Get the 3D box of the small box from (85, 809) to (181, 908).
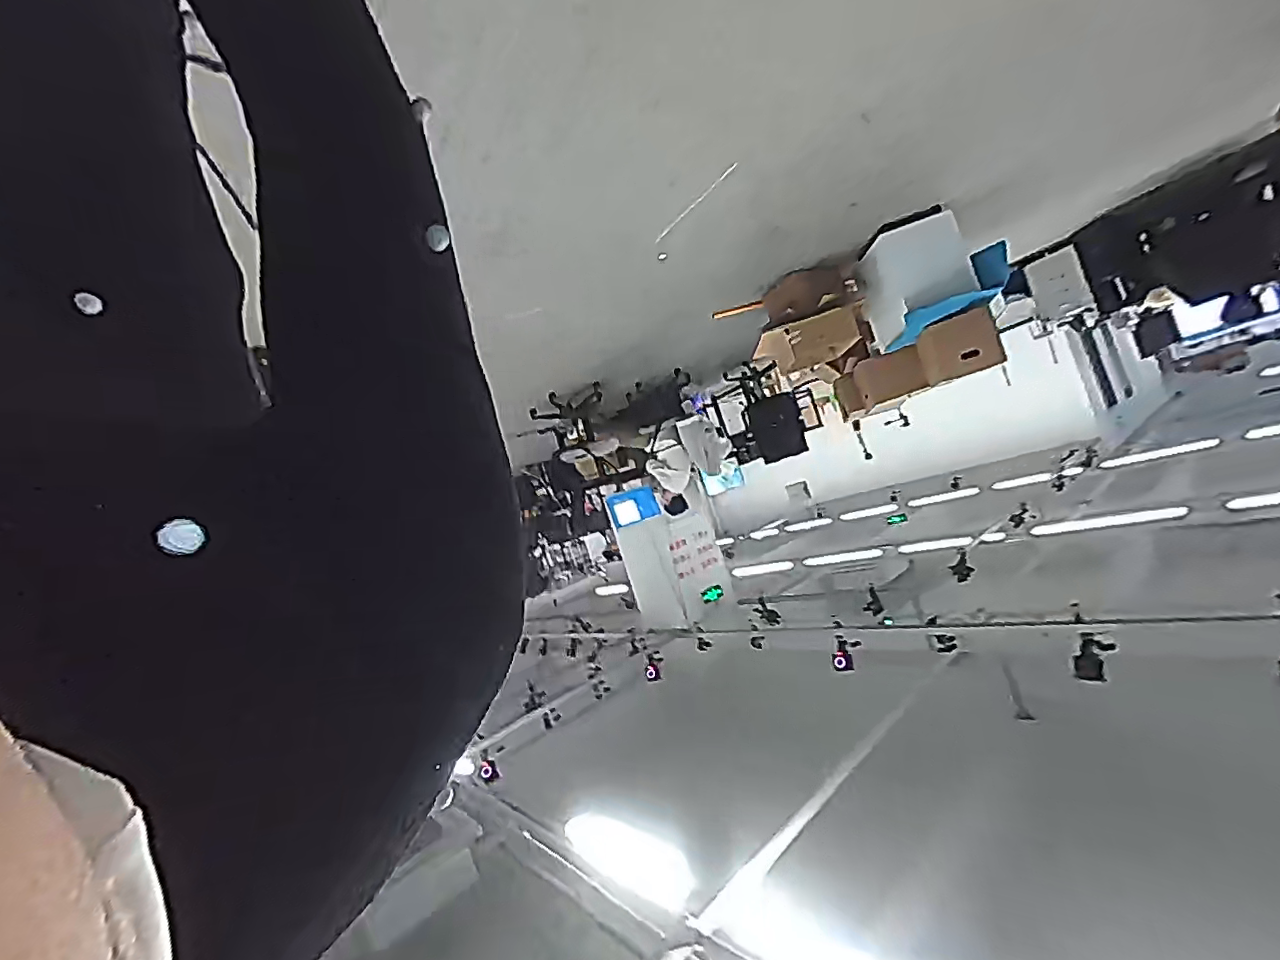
[{"bbox_3d":[-1.557,1.149,1.667,0.179,0.176,0.168,-17,178,-39],"label":"small box"}]
